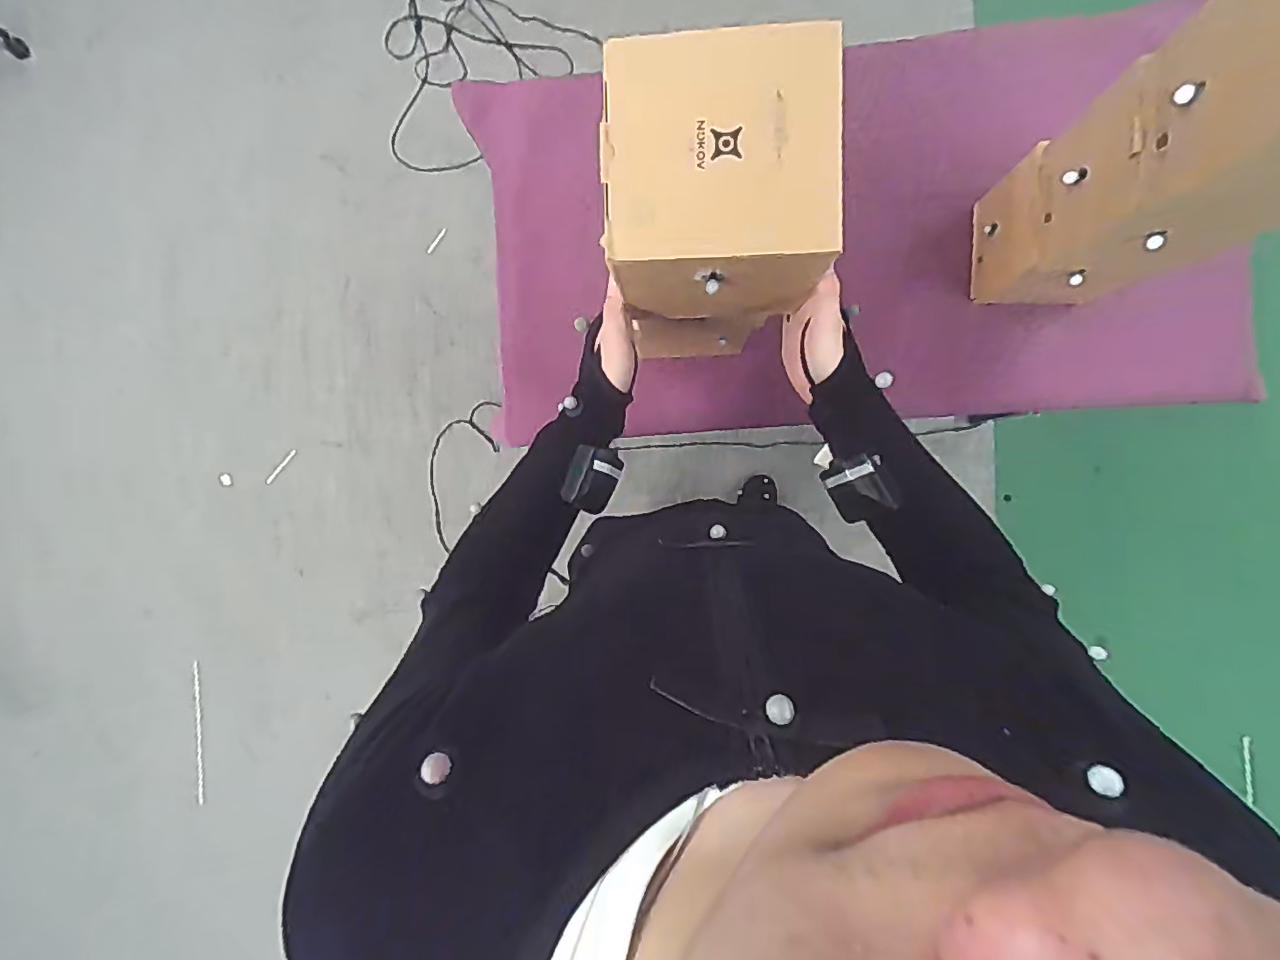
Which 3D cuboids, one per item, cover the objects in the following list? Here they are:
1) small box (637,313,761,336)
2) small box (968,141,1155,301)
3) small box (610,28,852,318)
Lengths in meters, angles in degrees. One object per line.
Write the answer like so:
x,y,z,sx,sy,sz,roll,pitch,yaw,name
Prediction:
0.077,-0.289,0.679,0.179,0.176,0.168,-6,89,4,small box
0.630,-0.378,0.812,0.179,0.176,0.168,2,90,4,small box
0.071,-0.245,0.476,0.179,0.176,0.168,0,92,4,small box
